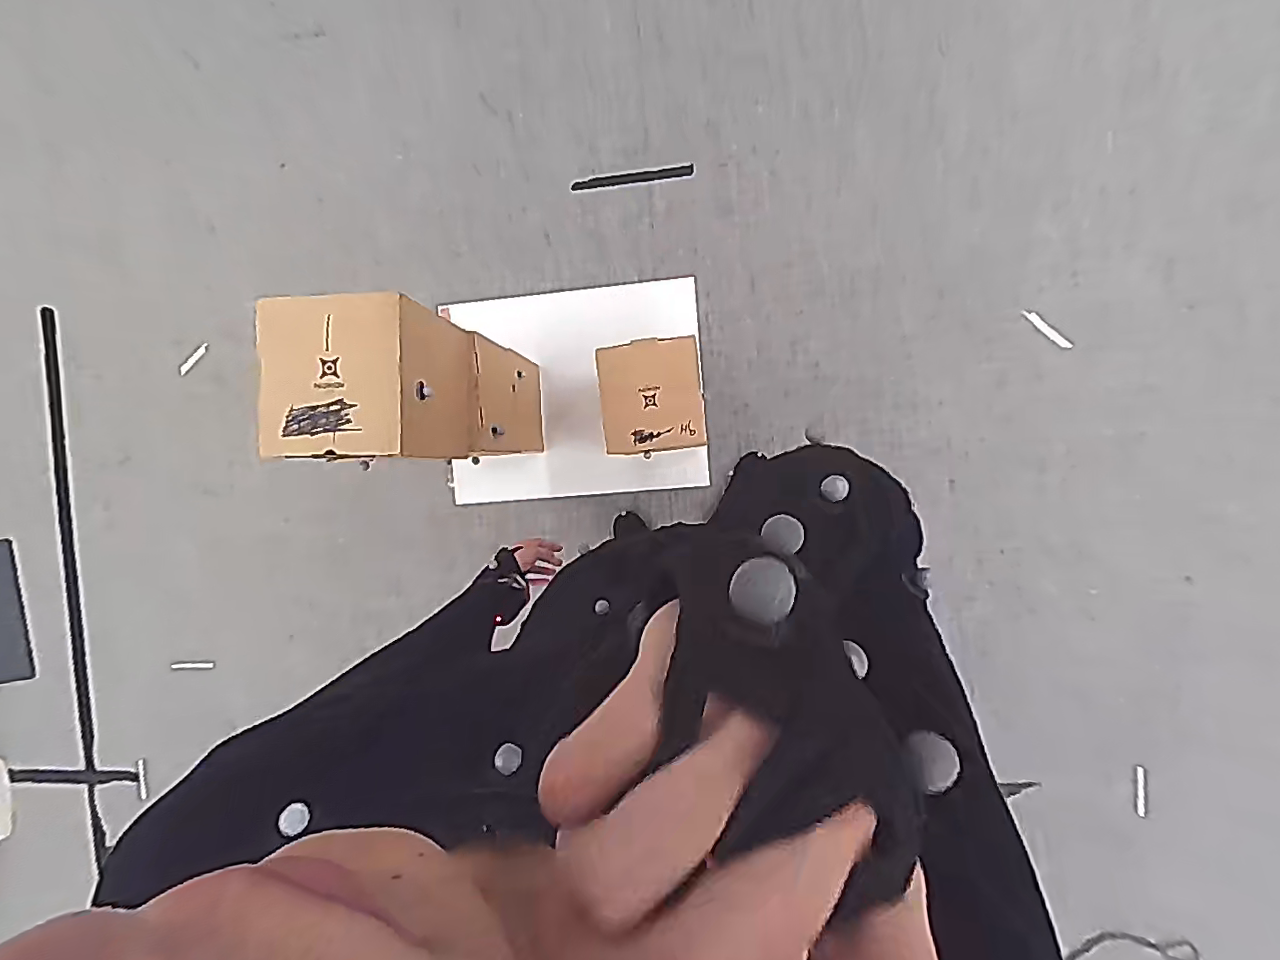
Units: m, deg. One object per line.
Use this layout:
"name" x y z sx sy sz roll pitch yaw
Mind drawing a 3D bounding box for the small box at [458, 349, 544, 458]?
"small box" -0.278 -0.130 0.982 0.168 0.176 0.179 -3 92 5

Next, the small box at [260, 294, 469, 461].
"small box" -0.319 -0.112 0.656 0.168 0.176 0.179 0 91 6

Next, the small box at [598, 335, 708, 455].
"small box" 0.029 -0.139 0.948 0.168 0.176 0.179 -6 91 8
